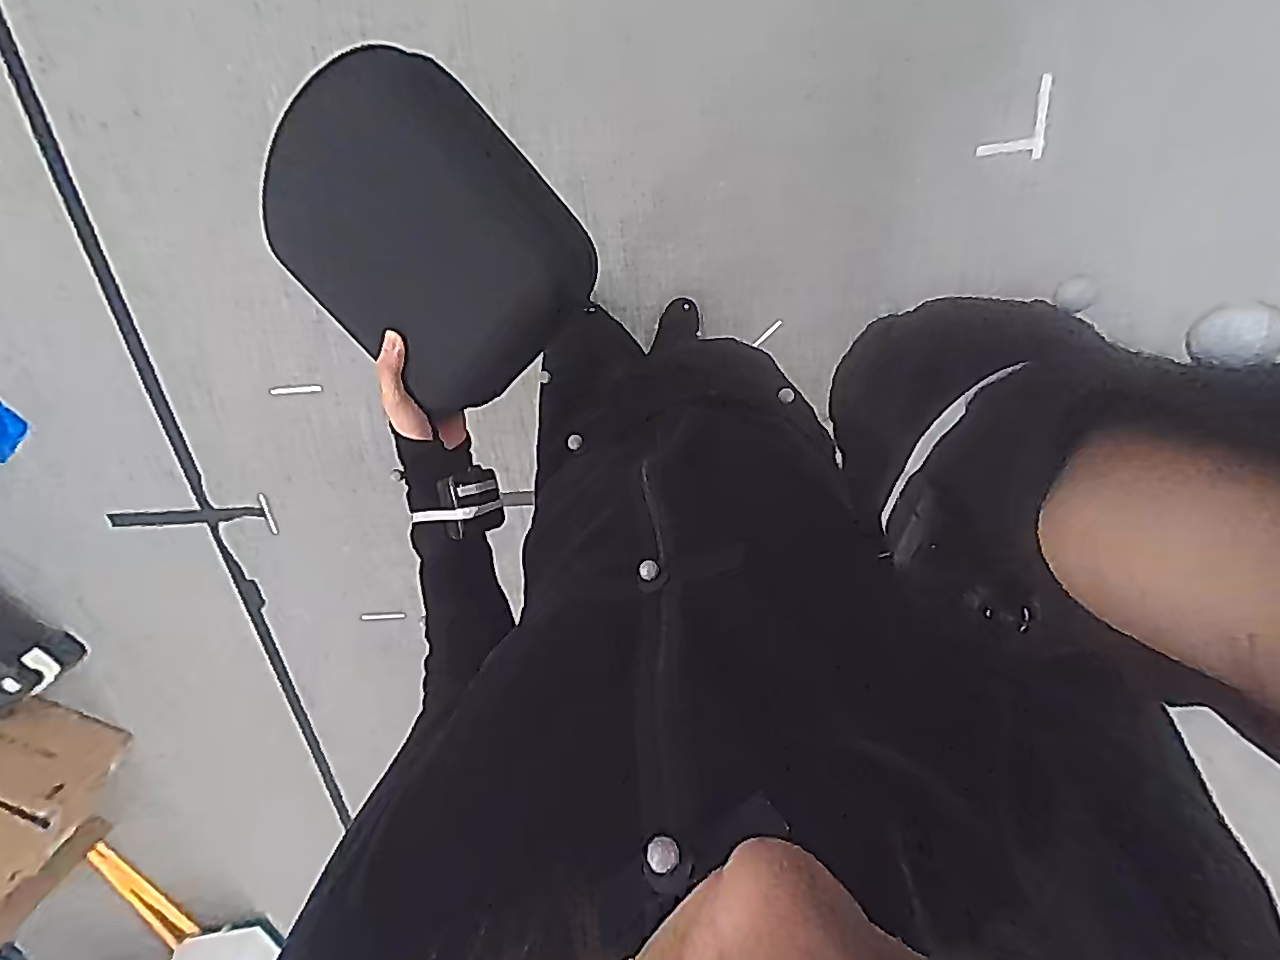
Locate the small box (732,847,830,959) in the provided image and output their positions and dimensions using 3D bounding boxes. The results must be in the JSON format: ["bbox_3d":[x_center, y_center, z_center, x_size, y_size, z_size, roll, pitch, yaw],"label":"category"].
[{"bbox_3d":[0.295,0.940,1.173,0.168,0.176,0.179,2,112,0],"label":"small box"}]

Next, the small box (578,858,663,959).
[{"bbox_3d":[-0.035,0.973,1.191,0.168,0.176,0.179,-5,113,2],"label":"small box"}]
